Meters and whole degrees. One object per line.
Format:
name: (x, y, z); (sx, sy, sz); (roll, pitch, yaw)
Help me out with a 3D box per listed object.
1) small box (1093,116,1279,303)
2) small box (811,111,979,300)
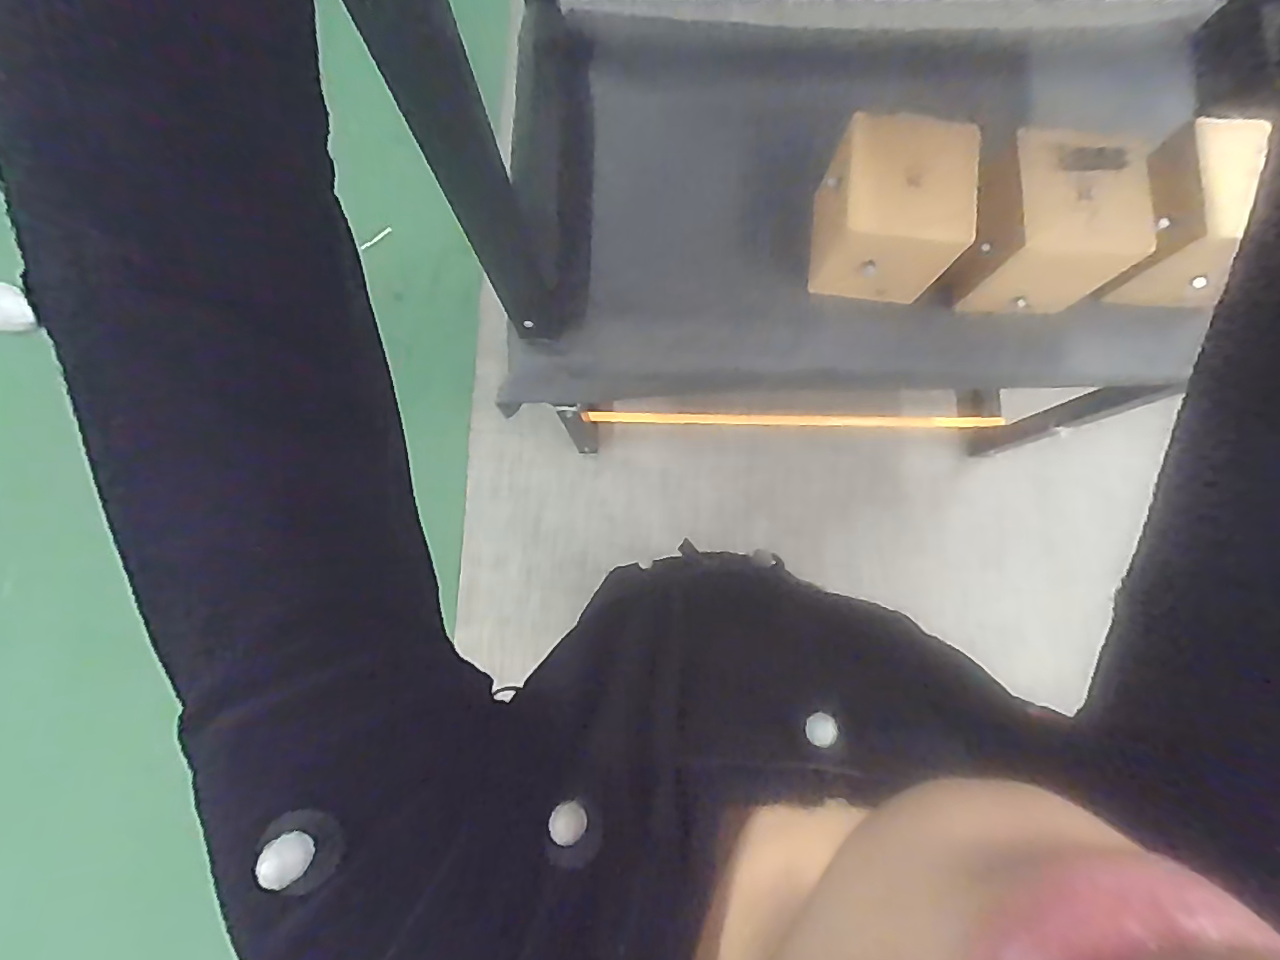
small box: (0.796, -0.373, 0.771); (0.168, 0.176, 0.179); (4, 80, 1)
small box: (0.355, -0.383, 0.780); (0.168, 0.176, 0.179); (7, 80, 2)
